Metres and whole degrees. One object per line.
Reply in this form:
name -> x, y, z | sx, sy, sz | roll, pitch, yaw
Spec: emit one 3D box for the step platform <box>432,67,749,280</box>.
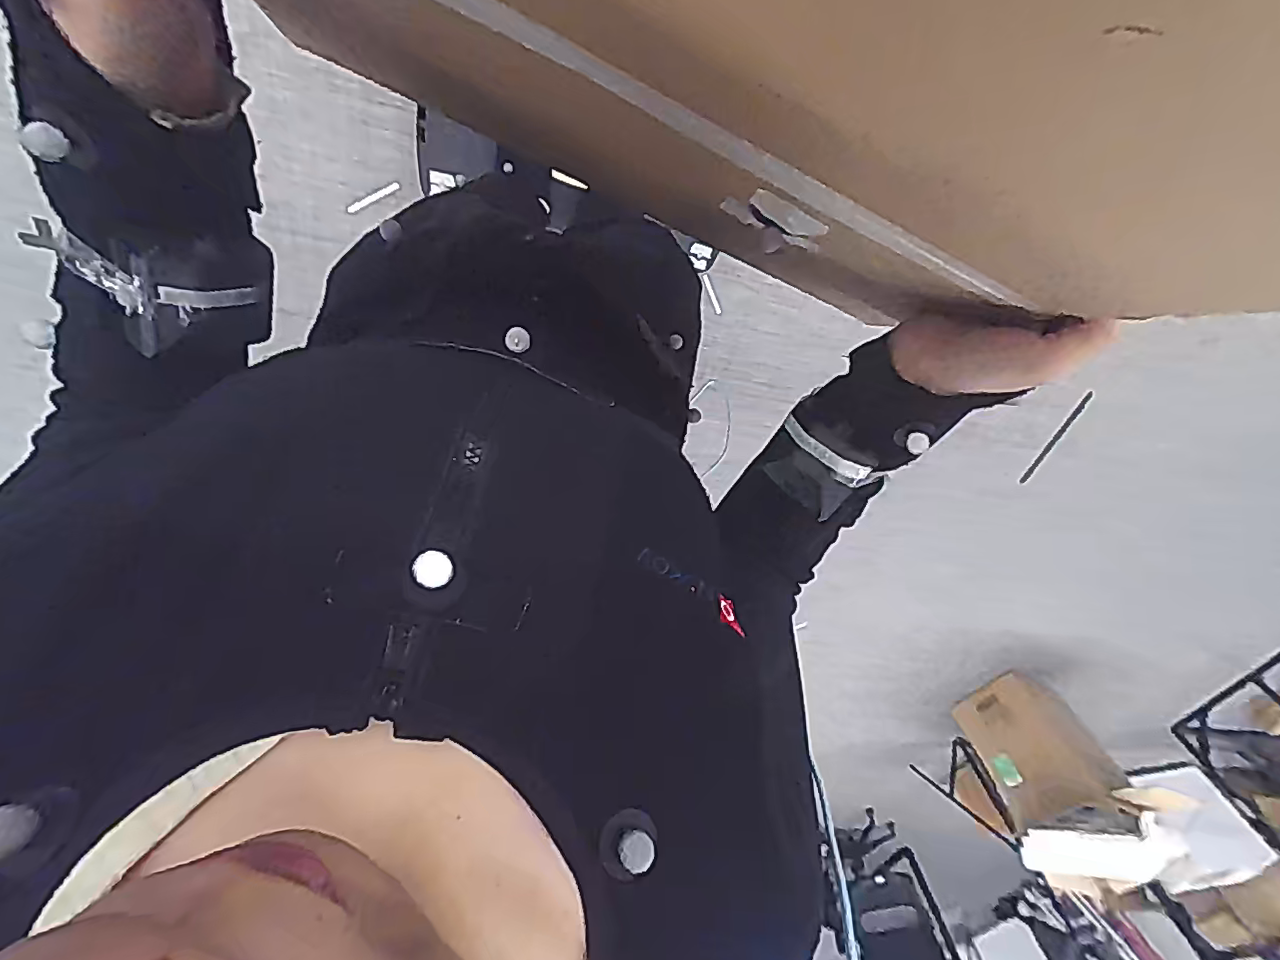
step platform -> -0.084, -0.682, 1.166 | 0.684, 0.204, 0.286 | 13, 124, -18
